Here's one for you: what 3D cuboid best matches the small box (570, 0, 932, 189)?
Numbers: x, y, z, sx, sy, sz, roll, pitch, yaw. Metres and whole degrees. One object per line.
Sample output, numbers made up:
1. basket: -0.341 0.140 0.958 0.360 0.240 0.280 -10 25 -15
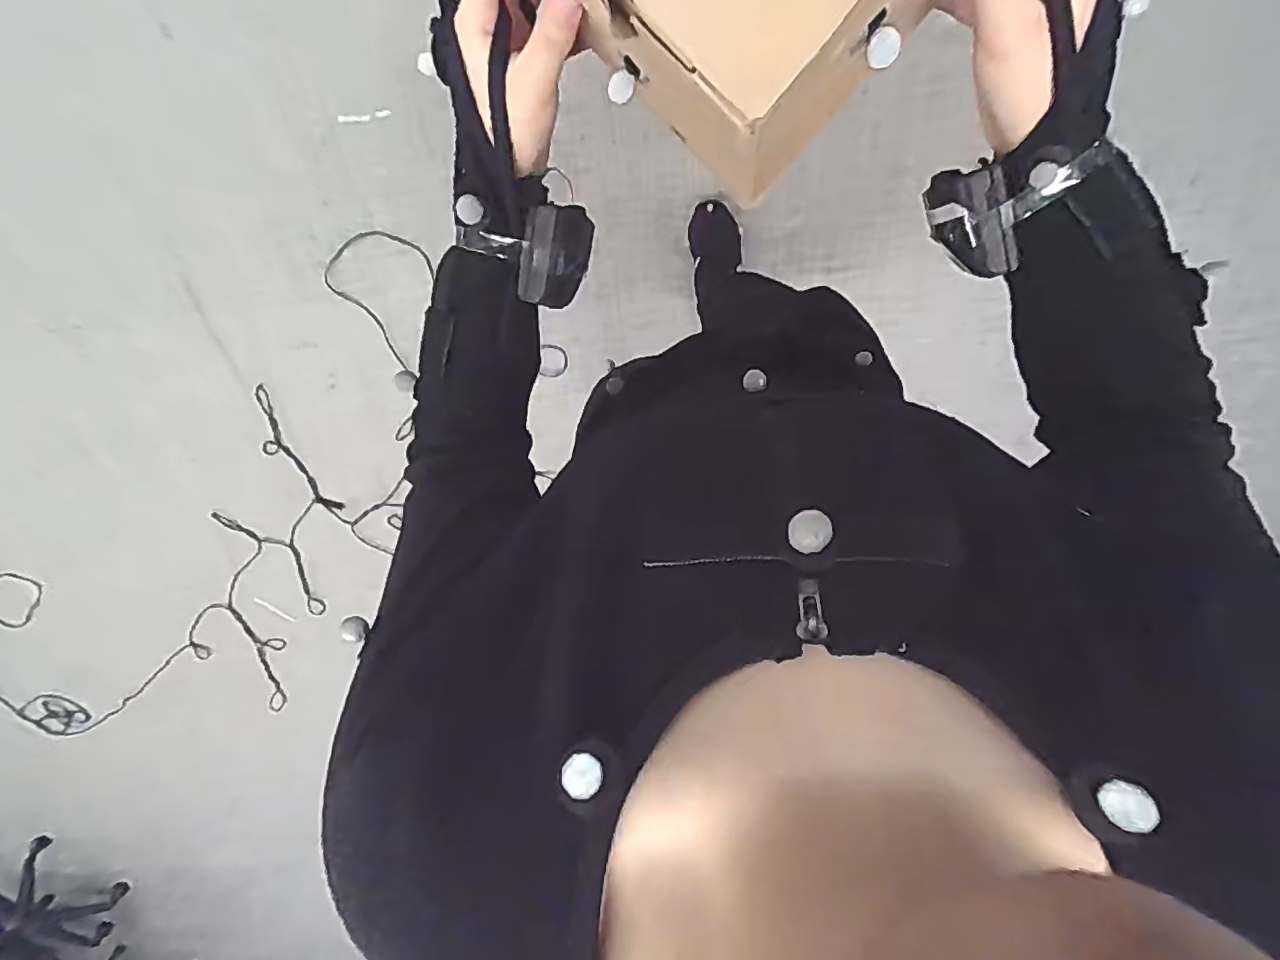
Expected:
1. small box: 0.055 -0.267 0.240 0.168 0.176 0.179 44 111 -4
